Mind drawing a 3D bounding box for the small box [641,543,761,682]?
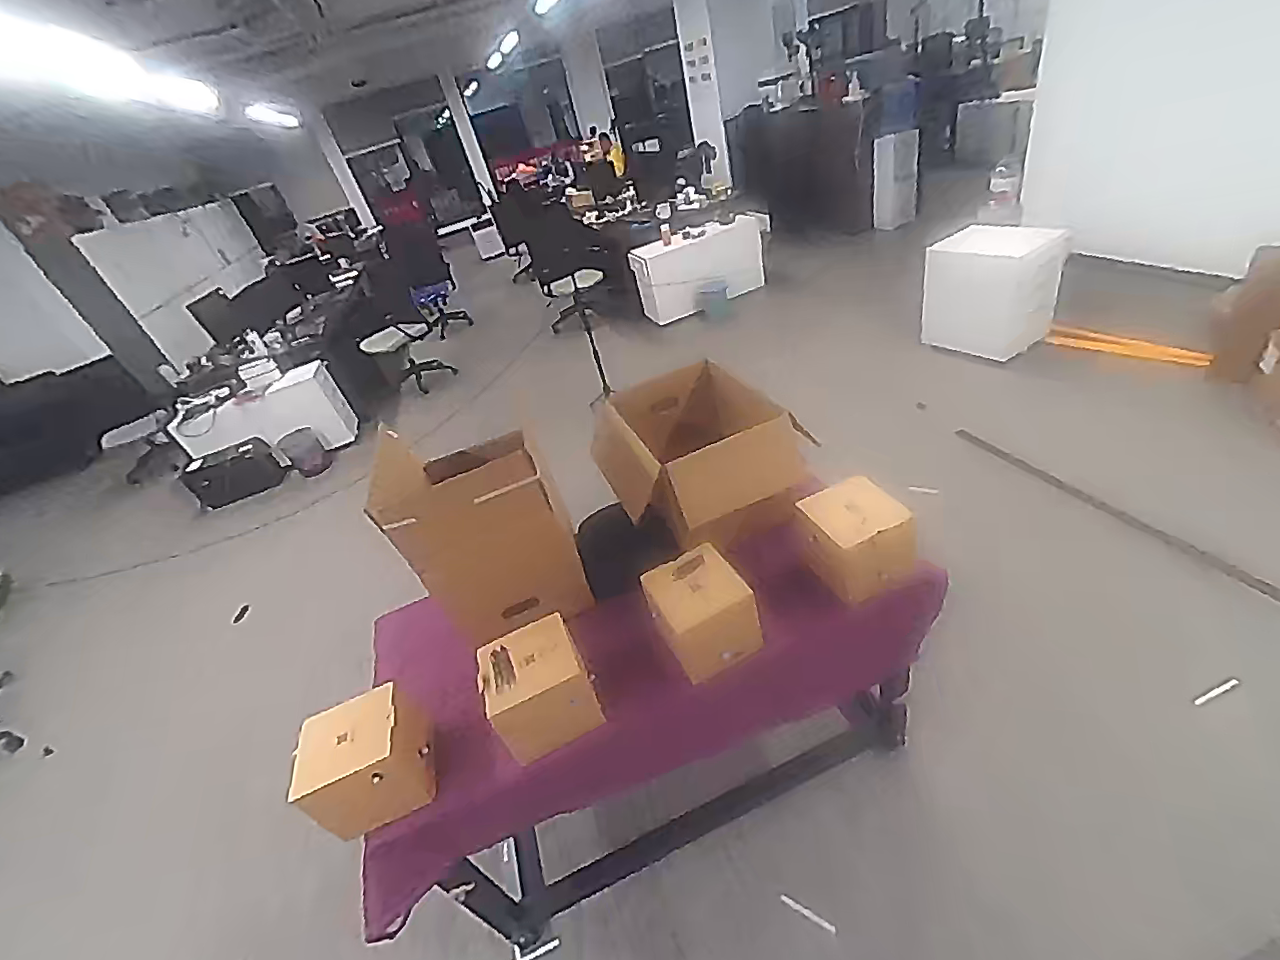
[{"bbox_3d":[0.124,0.266,1.093,0.168,0.176,0.179,-26,36,-11],"label":"small box"}]

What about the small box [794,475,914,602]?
[{"bbox_3d":[0.450,0.122,1.145,0.168,0.176,0.179,-24,35,-7],"label":"small box"}]

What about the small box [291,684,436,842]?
[{"bbox_3d":[-0.502,0.528,1.008,0.179,0.176,0.168,-23,35,-9],"label":"small box"}]
